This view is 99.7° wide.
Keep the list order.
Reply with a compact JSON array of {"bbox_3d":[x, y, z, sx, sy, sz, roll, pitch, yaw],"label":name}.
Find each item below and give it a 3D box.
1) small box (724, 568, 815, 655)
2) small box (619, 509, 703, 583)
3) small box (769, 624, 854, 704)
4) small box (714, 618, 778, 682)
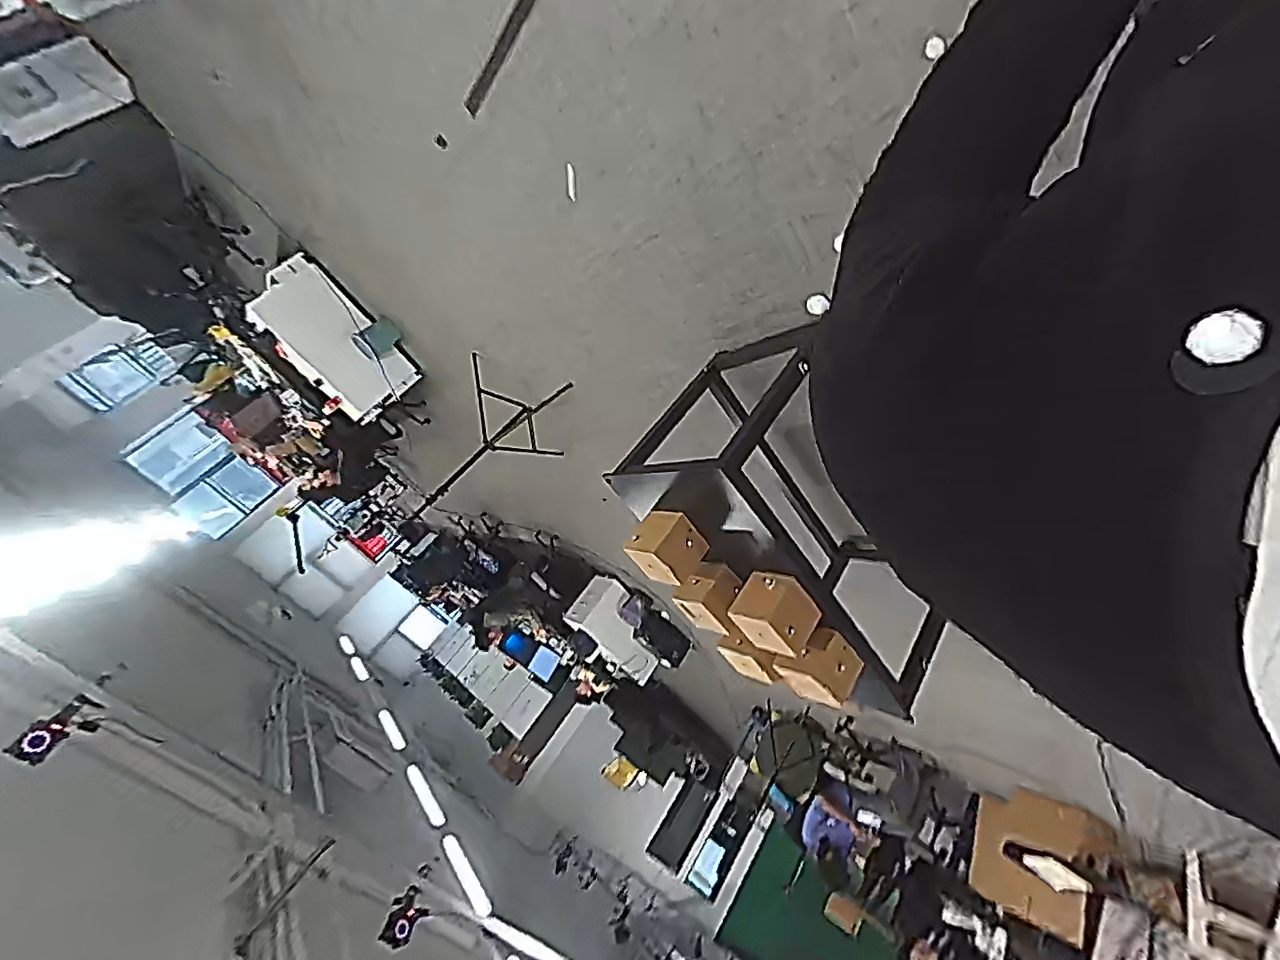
[{"bbox_3d":[0.393,0.389,1.625,0.179,0.176,0.168,50,153,-21],"label":"small box"},{"bbox_3d":[0.073,0.207,1.756,0.179,0.176,0.168,0,135,54],"label":"small box"},{"bbox_3d":[0.551,0.572,1.714,0.168,0.176,0.179,47,154,-17],"label":"small box"},{"bbox_3d":[0.405,0.585,1.941,0.168,0.176,0.179,51,153,-23],"label":"small box"}]
